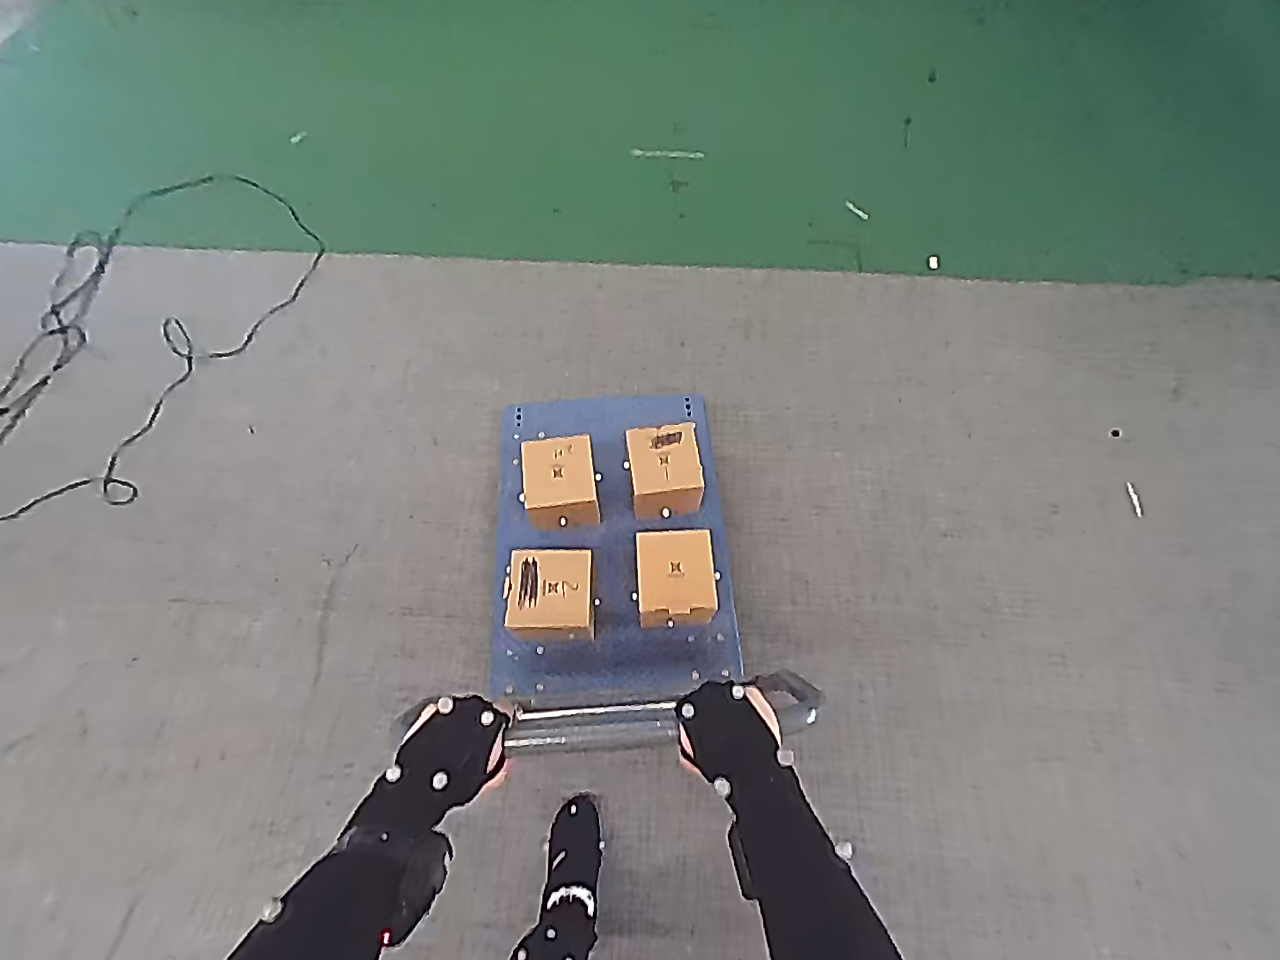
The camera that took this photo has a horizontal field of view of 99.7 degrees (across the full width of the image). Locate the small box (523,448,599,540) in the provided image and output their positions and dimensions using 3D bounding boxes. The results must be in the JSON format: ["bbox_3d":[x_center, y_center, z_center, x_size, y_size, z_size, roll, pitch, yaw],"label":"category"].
[{"bbox_3d":[-0.194,0.043,1.354,0.168,0.176,0.179,-6,64,-4],"label":"small box"}]

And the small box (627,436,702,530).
[{"bbox_3d":[0.055,0.011,1.370,0.168,0.176,0.179,-7,65,-3],"label":"small box"}]

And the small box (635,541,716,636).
[{"bbox_3d":[0.075,0.254,1.251,0.168,0.176,0.179,-3,64,-2],"label":"small box"}]
